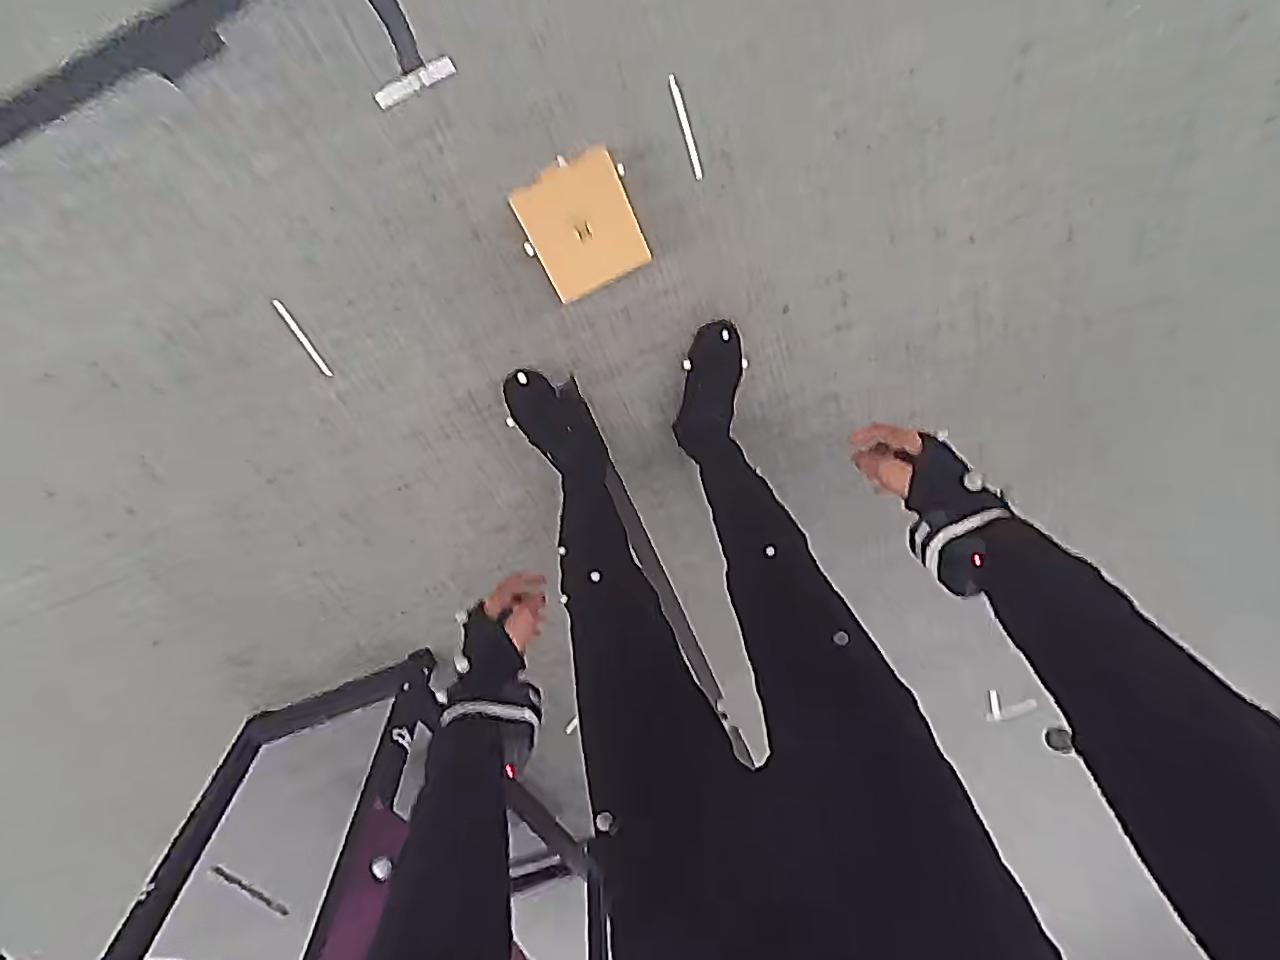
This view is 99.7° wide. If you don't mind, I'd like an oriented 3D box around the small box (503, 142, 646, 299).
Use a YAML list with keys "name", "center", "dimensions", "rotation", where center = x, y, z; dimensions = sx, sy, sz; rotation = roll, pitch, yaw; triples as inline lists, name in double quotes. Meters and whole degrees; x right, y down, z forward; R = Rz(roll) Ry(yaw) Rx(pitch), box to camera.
- name: "small box"
  center: [-0.102, -0.432, 0.898]
  dimensions: [0.168, 0.176, 0.179]
  rotation: [-25, 119, 8]
